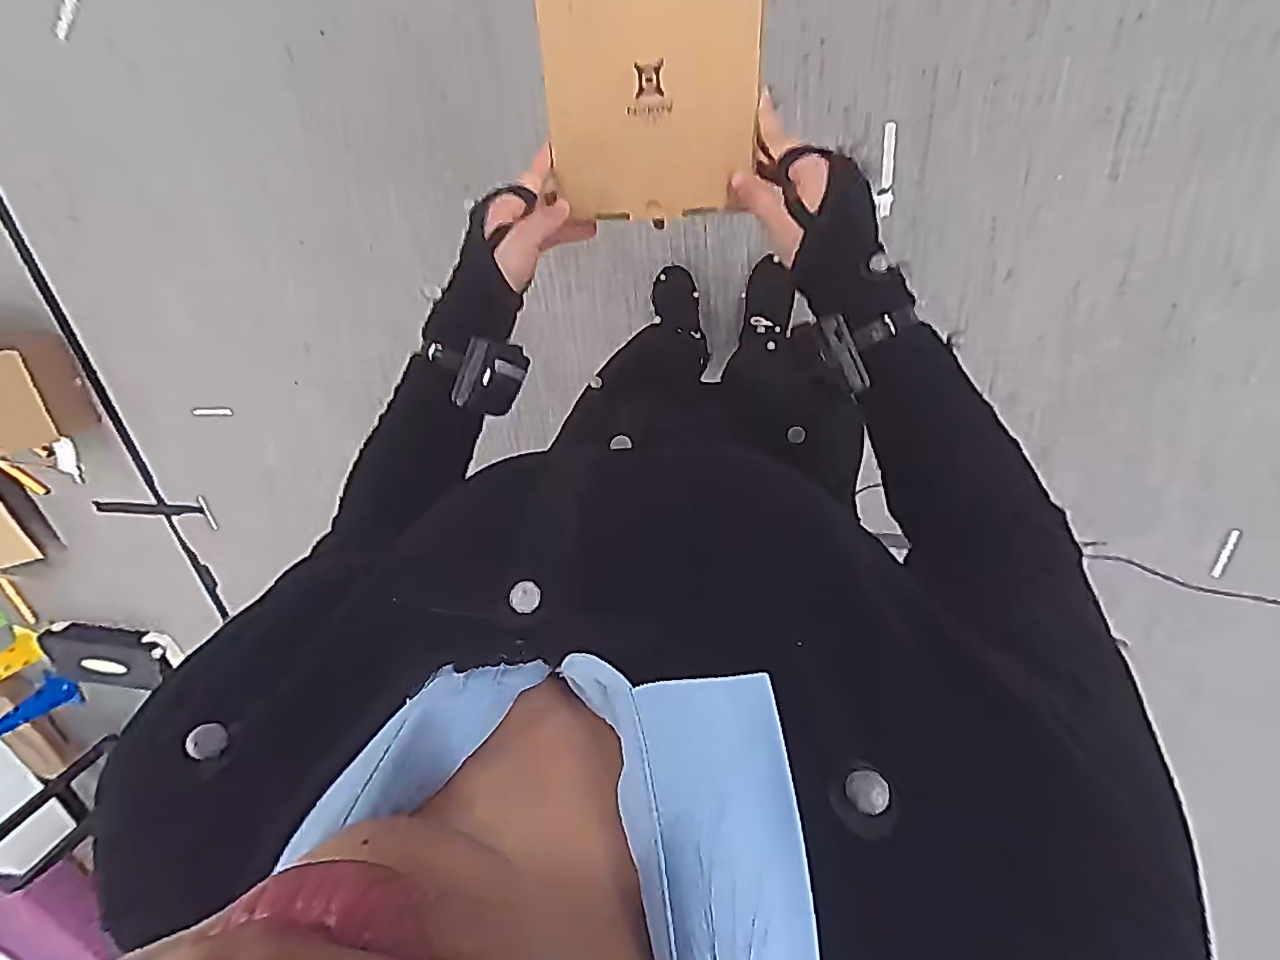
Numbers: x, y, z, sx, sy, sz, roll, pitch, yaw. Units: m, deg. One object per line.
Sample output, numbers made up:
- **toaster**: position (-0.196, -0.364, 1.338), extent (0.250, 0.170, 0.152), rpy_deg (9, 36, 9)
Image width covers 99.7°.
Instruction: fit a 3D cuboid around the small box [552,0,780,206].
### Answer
- **small box**: position (0.030, -0.342, 0.471), extent (0.168, 0.176, 0.179), rpy_deg (1, 117, 10)
